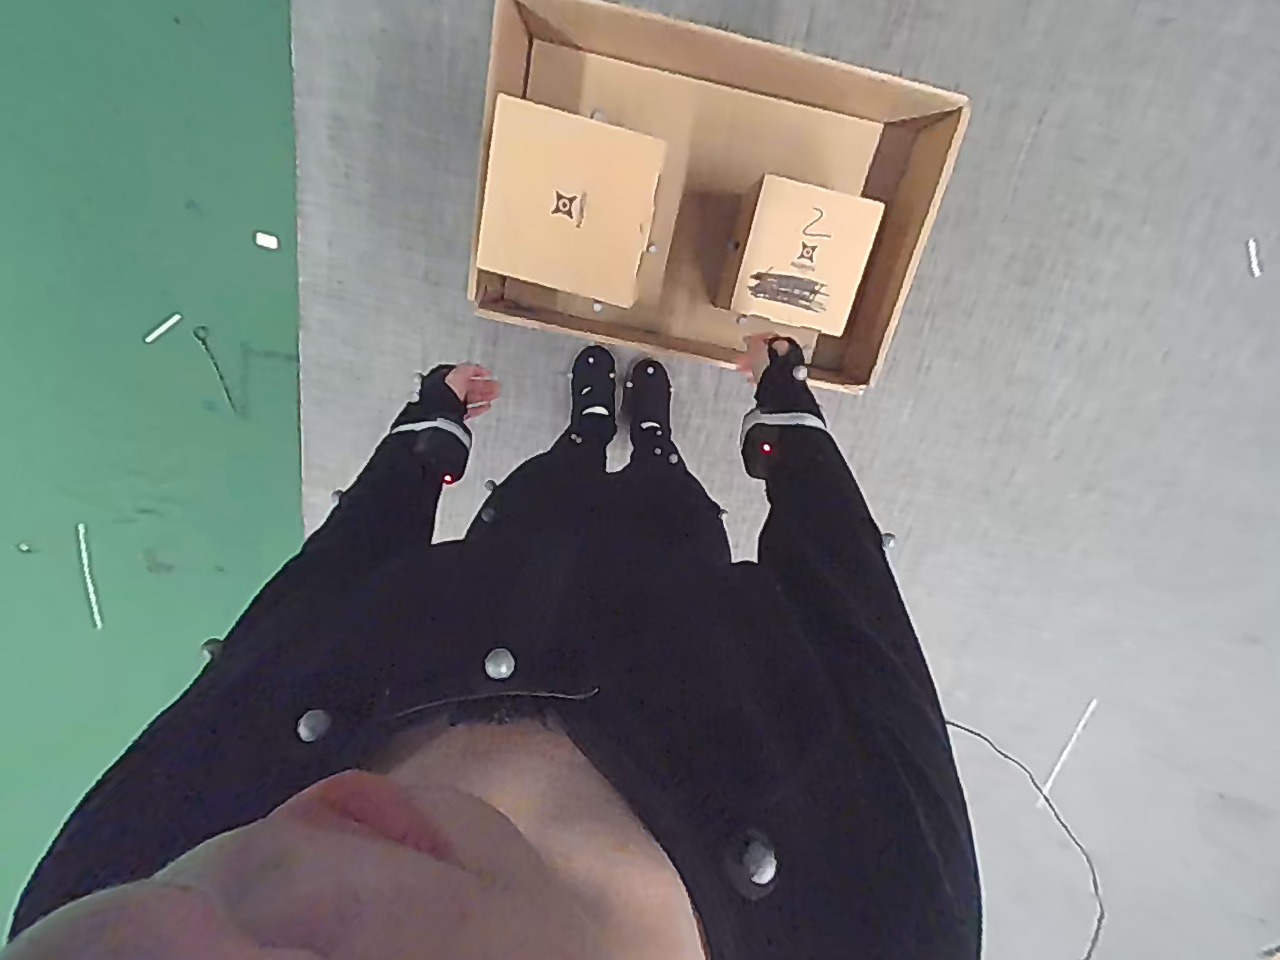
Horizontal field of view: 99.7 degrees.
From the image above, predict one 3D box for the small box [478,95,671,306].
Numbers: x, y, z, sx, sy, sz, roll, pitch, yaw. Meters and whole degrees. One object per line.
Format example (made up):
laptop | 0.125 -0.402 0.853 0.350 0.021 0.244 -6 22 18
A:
small box | -0.071 -0.311 0.636 0.179 0.176 0.168 13 110 -5
